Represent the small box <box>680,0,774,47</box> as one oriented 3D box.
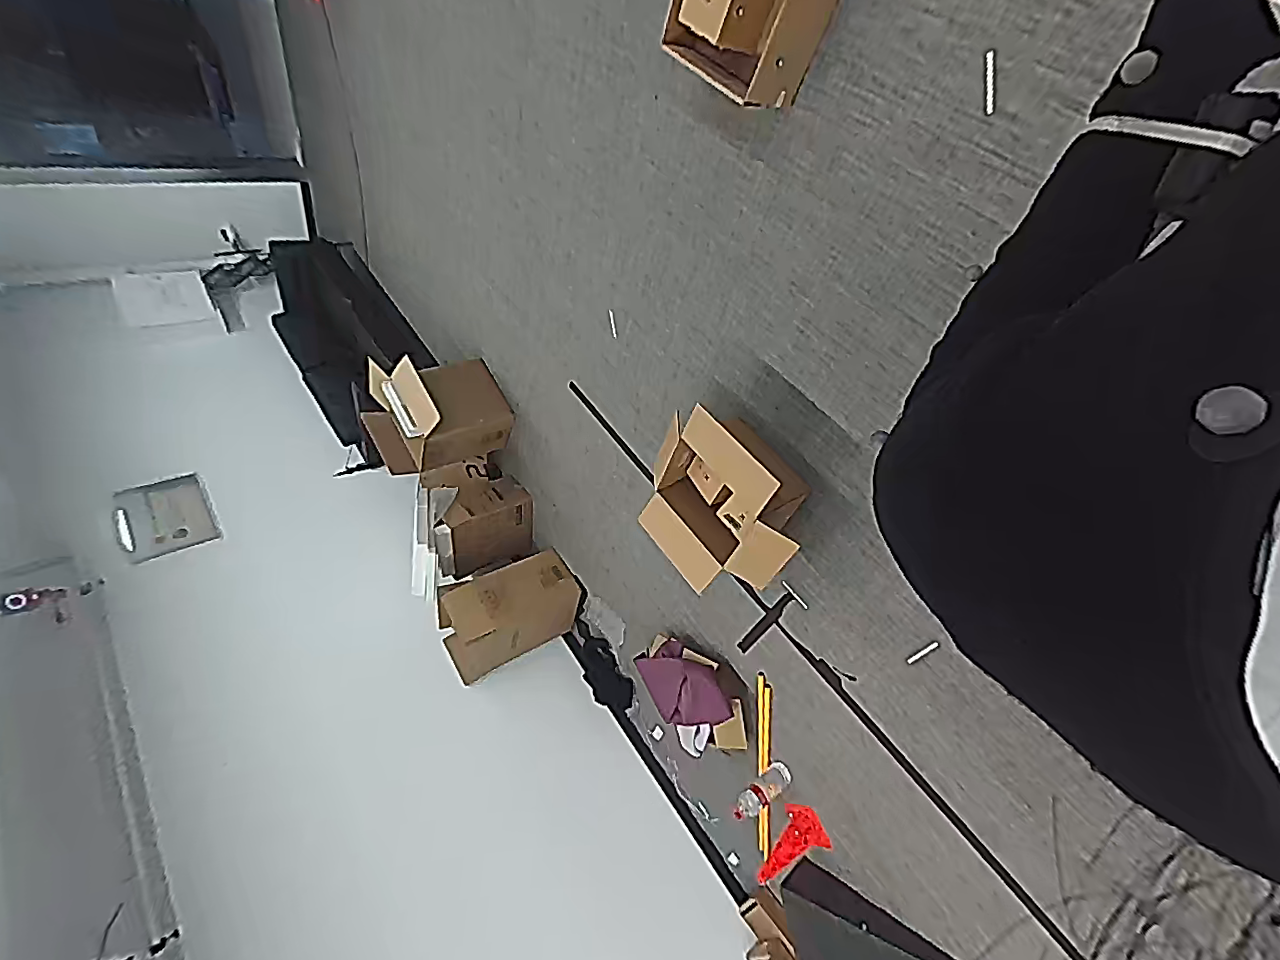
[{"bbox_3d":[0.243,-1.296,1.440,0.168,0.176,0.179,51,141,20],"label":"small box"}]
